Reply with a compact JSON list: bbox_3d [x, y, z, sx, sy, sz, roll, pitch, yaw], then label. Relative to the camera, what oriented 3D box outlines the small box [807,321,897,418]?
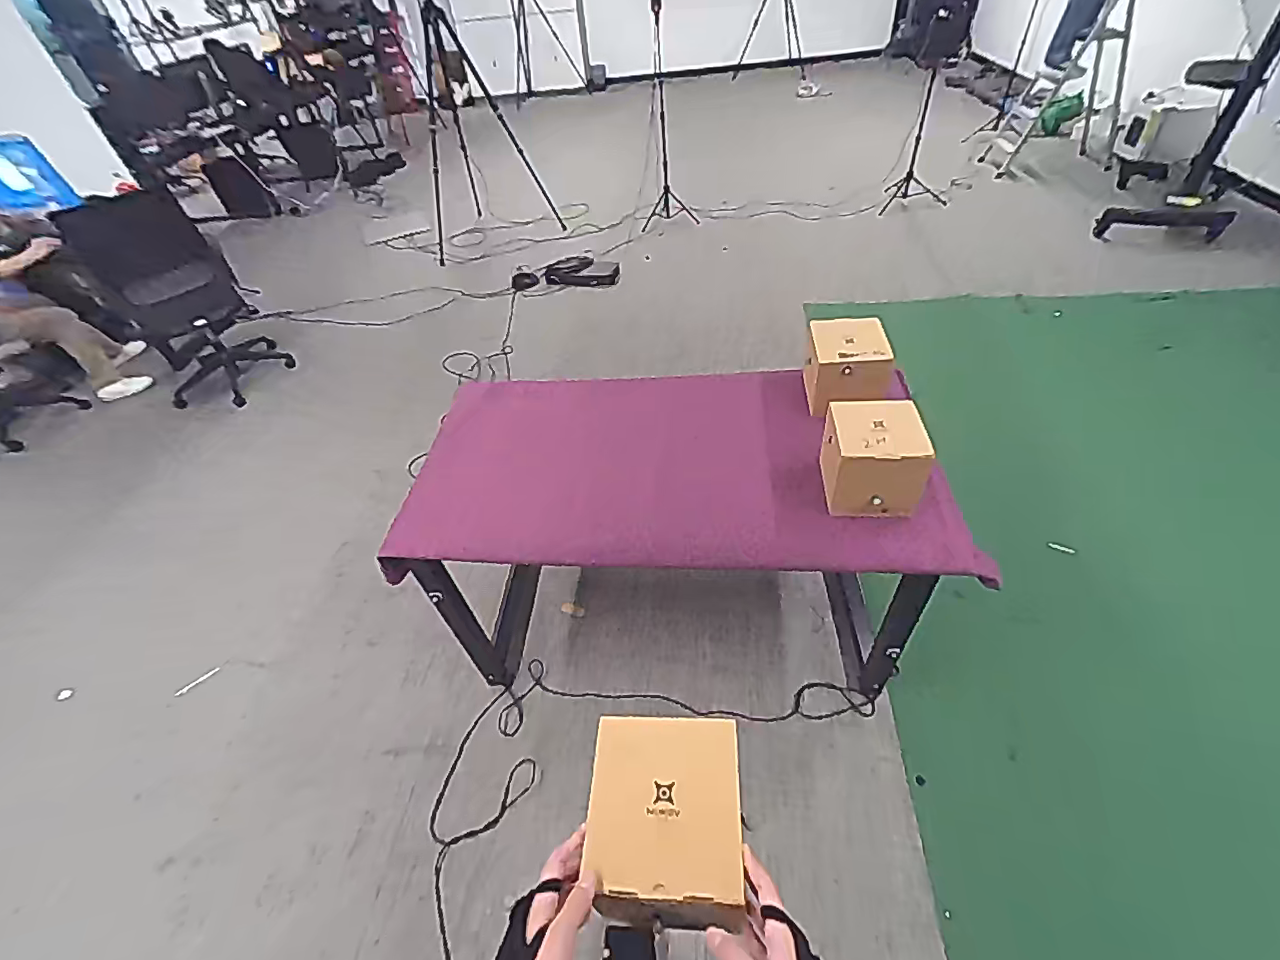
[{"bbox_3d":[0.511,-0.270,1.328,0.168,0.176,0.179,-1,47,9],"label":"small box"}]

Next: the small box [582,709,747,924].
[{"bbox_3d":[0.038,0.397,0.642,0.168,0.176,0.179,-2,44,8],"label":"small box"}]

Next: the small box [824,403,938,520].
[{"bbox_3d":[0.479,-0.040,1.106,0.168,0.176,0.179,0,44,10],"label":"small box"}]
